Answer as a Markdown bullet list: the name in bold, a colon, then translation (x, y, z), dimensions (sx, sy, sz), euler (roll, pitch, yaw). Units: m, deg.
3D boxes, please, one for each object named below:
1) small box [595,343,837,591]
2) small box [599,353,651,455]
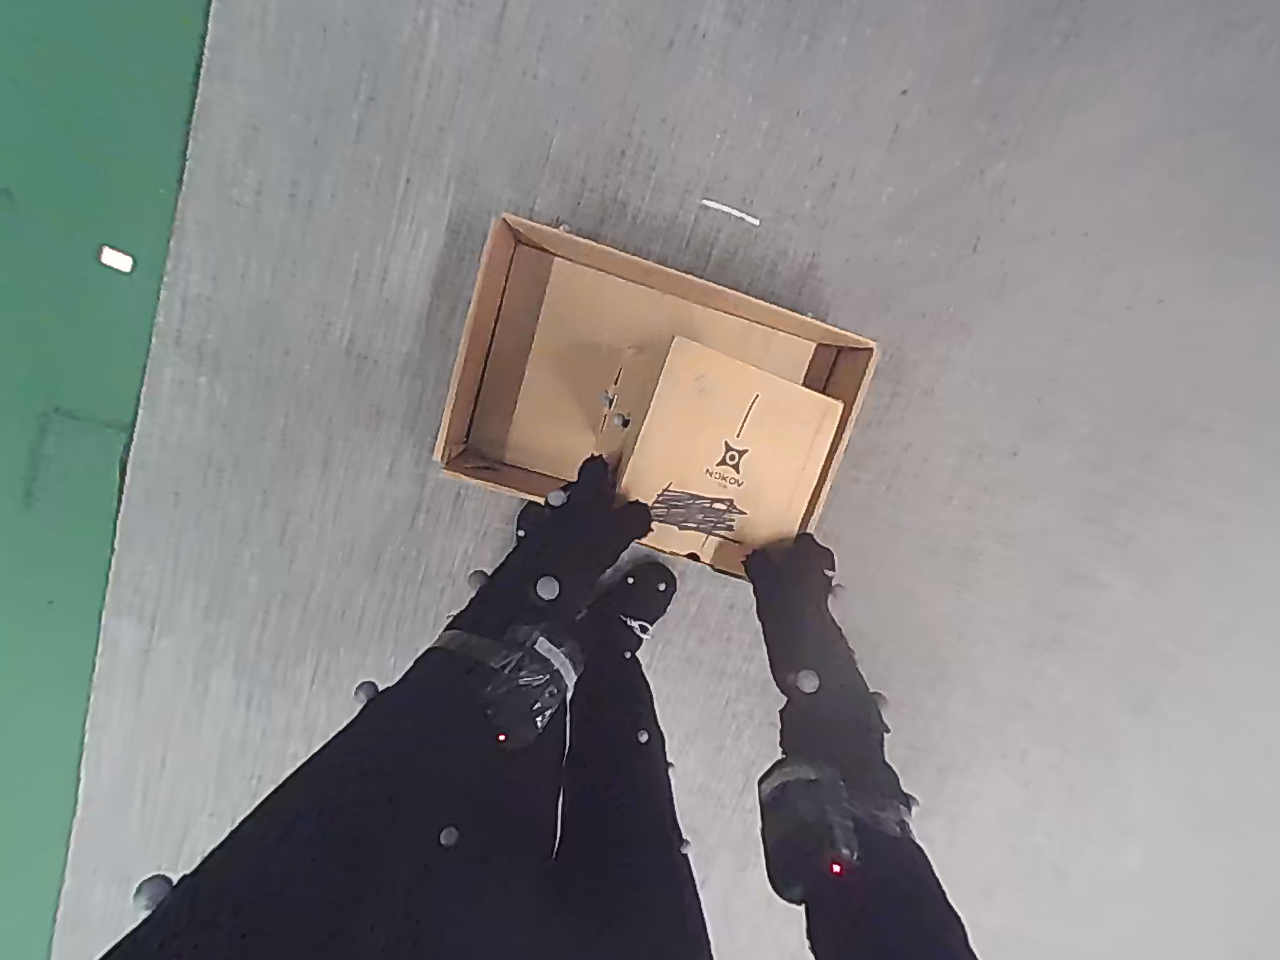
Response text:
- **small box**: translation (0.059, -0.015, 0.545), dimensions (0.168, 0.176, 0.179), euler (20, 91, -12)
- **small box**: translation (0.034, -0.105, 0.904), dimensions (0.179, 0.176, 0.168), euler (14, 99, -7)
